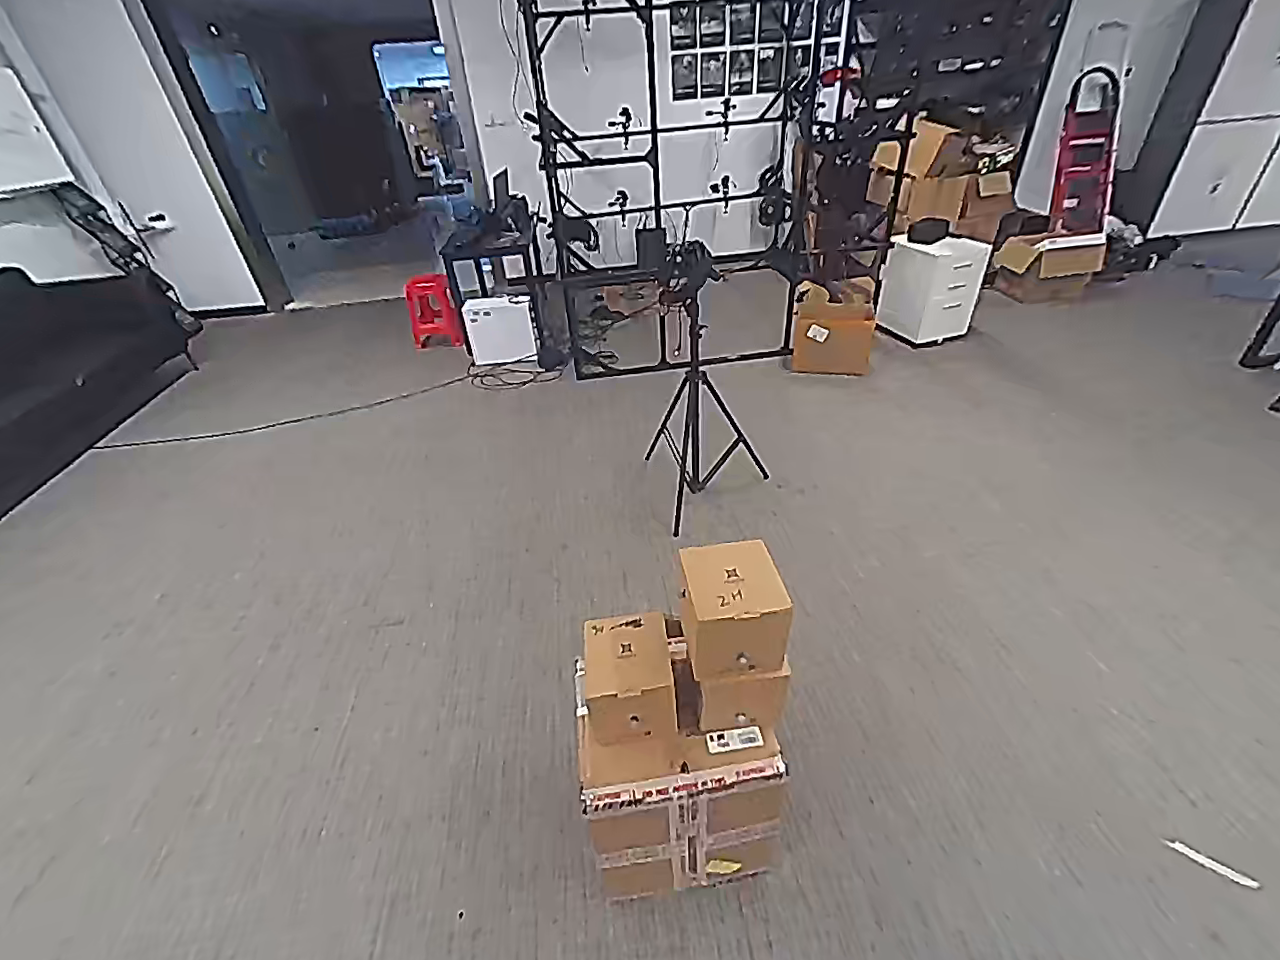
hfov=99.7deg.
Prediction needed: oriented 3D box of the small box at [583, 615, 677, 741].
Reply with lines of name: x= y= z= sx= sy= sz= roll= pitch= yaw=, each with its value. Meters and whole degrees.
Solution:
small box: x=-0.019 y=0.401 z=1.082 sx=0.168 sy=0.176 sz=0.179 roll=-7 pitch=38 yaw=-1

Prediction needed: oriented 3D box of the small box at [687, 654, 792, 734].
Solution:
small box: x=0.190 y=0.380 z=1.090 sx=0.168 sy=0.176 sz=0.179 roll=-5 pitch=38 yaw=-3

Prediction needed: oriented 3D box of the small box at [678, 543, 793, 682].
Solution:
small box: x=0.165 y=0.243 z=1.000 sx=0.168 sy=0.176 sz=0.179 roll=-6 pitch=37 yaw=-5
